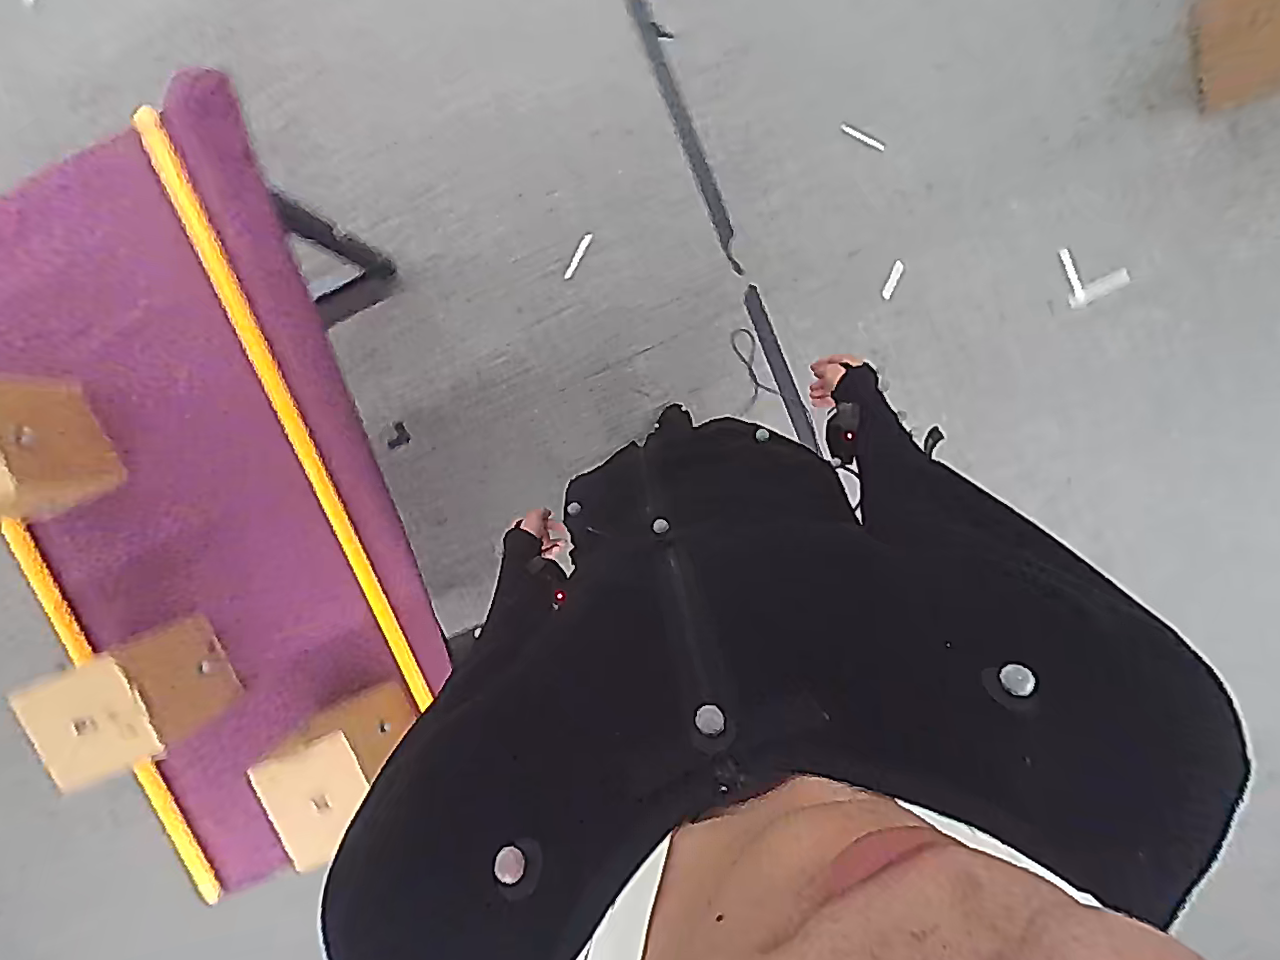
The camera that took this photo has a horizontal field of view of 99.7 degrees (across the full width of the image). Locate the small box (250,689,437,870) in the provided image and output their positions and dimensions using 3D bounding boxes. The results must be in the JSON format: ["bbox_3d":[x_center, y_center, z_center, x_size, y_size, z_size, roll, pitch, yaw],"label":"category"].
[{"bbox_3d":[-0.464,0.465,0.873,0.168,0.176,0.179,-24,93,4],"label":"small box"}]

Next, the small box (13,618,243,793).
[{"bbox_3d":[-0.802,0.350,0.868,0.179,0.176,0.168,-23,96,2],"label":"small box"}]

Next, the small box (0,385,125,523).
[{"bbox_3d":[-0.971,-0.036,0.829,0.168,0.176,0.179,-23,96,2],"label":"small box"}]
